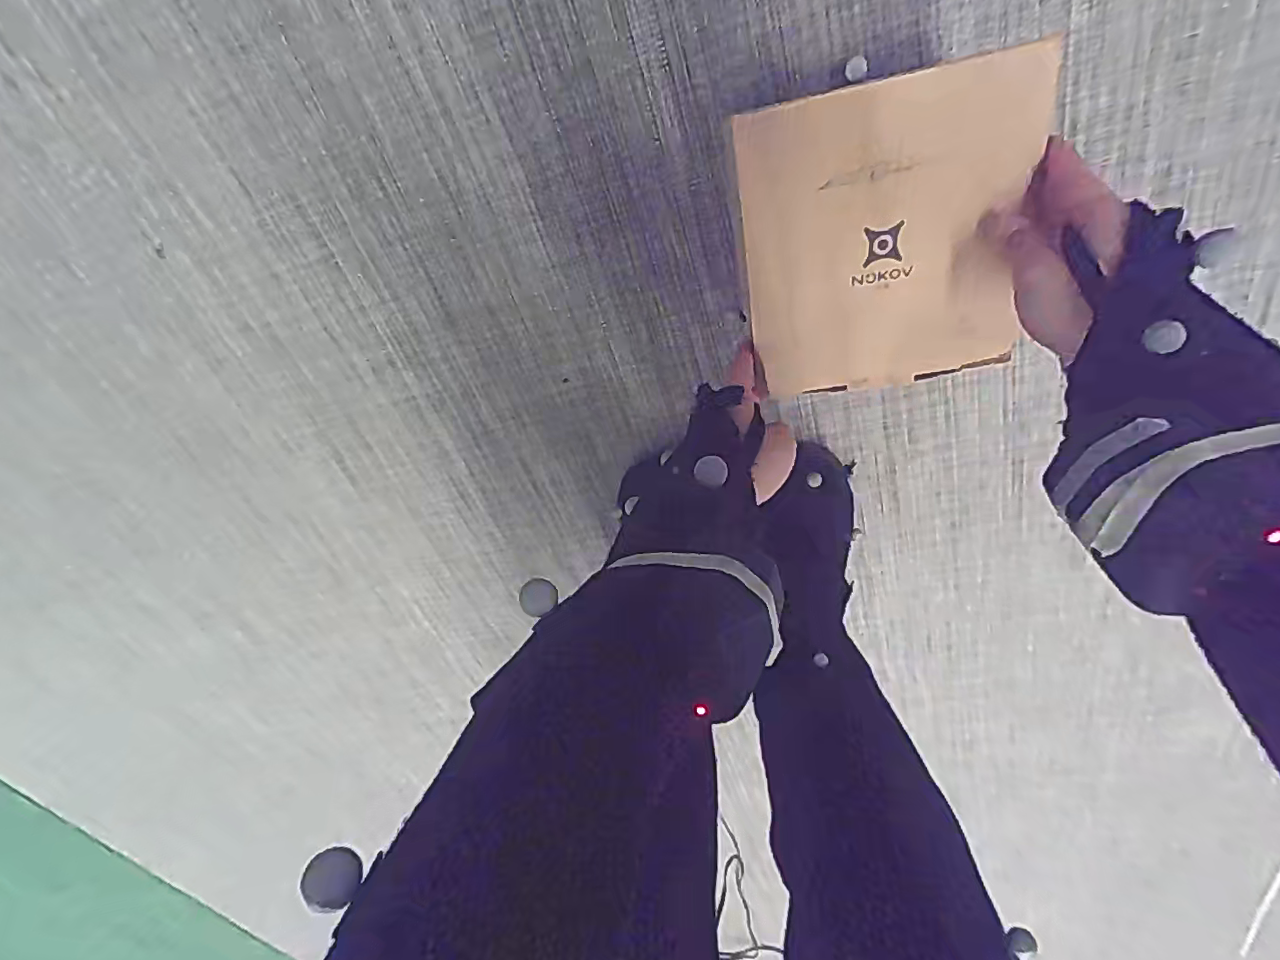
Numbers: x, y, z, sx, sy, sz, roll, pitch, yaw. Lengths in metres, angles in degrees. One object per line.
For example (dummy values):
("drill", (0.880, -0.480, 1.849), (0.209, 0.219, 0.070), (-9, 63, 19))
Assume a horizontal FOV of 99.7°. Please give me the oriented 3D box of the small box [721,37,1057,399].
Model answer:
("small box", (0.152, -0.181, 0.392), (0.168, 0.176, 0.179), (-8, 120, 11))
